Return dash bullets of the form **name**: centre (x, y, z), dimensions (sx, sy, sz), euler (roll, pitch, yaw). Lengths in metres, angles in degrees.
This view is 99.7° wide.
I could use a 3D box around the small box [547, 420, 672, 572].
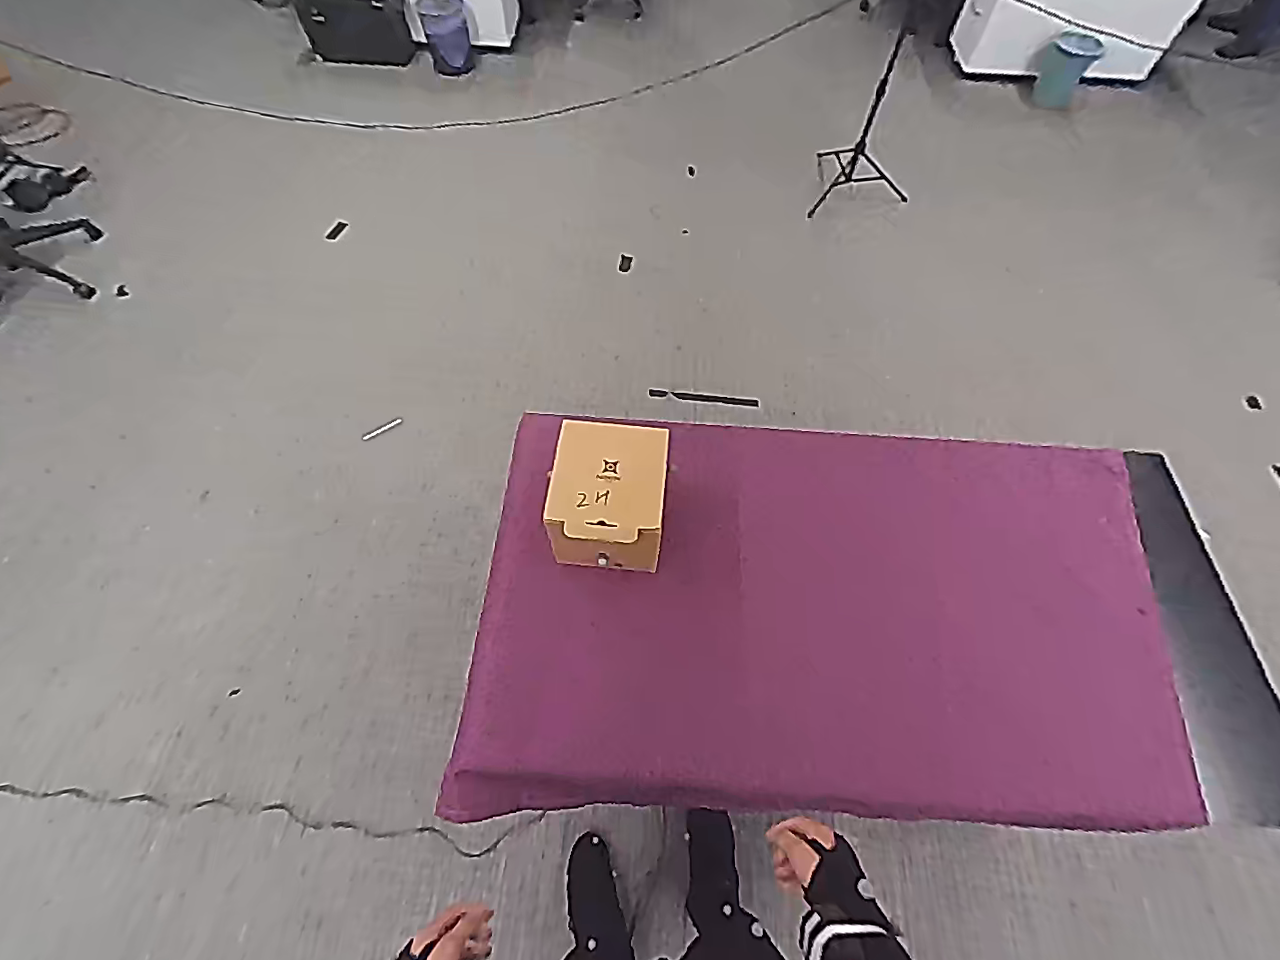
- **small box**: centre (-0.043, 0.029, 0.859), dimensions (0.168, 0.176, 0.179), euler (6, 61, 2)
